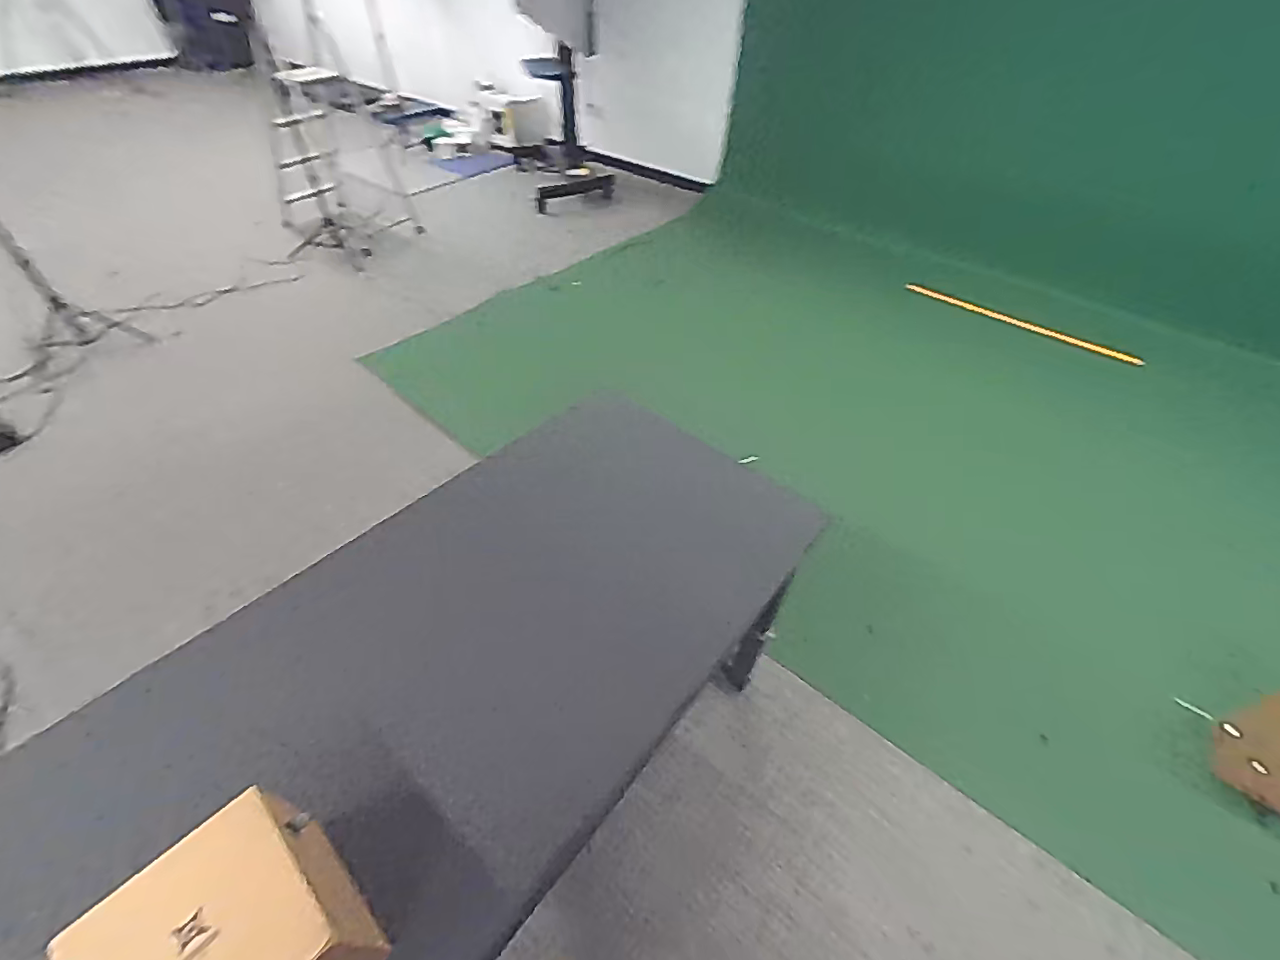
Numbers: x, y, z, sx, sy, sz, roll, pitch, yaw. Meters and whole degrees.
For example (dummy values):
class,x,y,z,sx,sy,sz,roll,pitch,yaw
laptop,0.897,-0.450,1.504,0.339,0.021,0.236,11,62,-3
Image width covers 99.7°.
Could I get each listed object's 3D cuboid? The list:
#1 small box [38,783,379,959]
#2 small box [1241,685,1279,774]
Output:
class,x,y,z,sx,sy,sz,roll,pitch,yaw
small box,-0.378,0.433,0.501,0.179,0.176,0.168,35,53,26
small box,1.597,0.606,1.287,0.168,0.176,0.179,32,51,23
